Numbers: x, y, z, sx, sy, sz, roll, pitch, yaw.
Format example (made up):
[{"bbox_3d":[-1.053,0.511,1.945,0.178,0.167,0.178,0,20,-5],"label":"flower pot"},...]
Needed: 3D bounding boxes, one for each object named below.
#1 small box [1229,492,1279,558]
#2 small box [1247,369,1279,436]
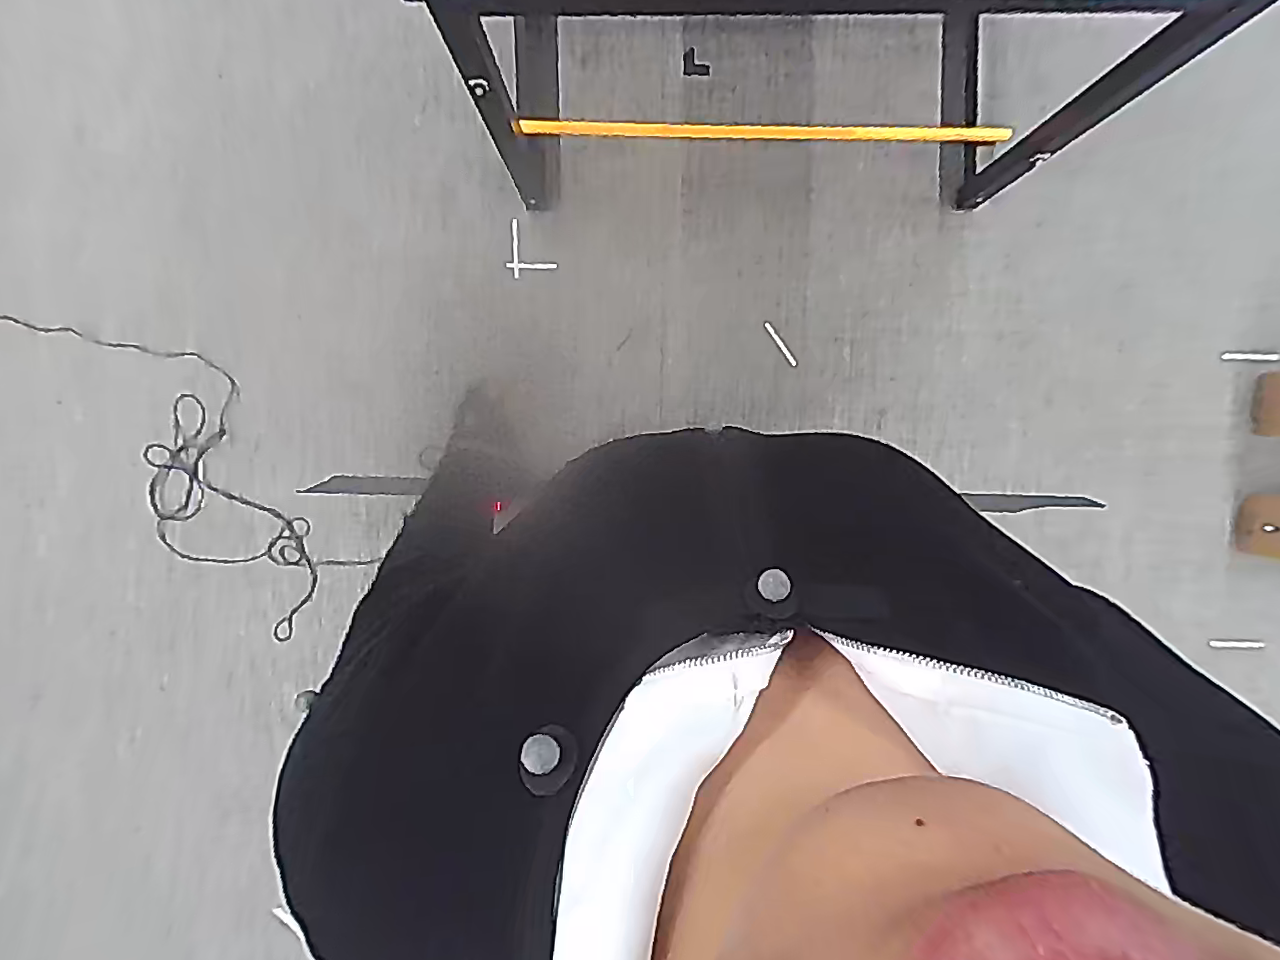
[{"bbox_3d":[1.740,0.123,1.434,0.179,0.176,0.168,2,95,1],"label":"small box"},{"bbox_3d":[1.750,-0.202,1.403,0.168,0.176,0.179,-1,95,0],"label":"small box"}]
